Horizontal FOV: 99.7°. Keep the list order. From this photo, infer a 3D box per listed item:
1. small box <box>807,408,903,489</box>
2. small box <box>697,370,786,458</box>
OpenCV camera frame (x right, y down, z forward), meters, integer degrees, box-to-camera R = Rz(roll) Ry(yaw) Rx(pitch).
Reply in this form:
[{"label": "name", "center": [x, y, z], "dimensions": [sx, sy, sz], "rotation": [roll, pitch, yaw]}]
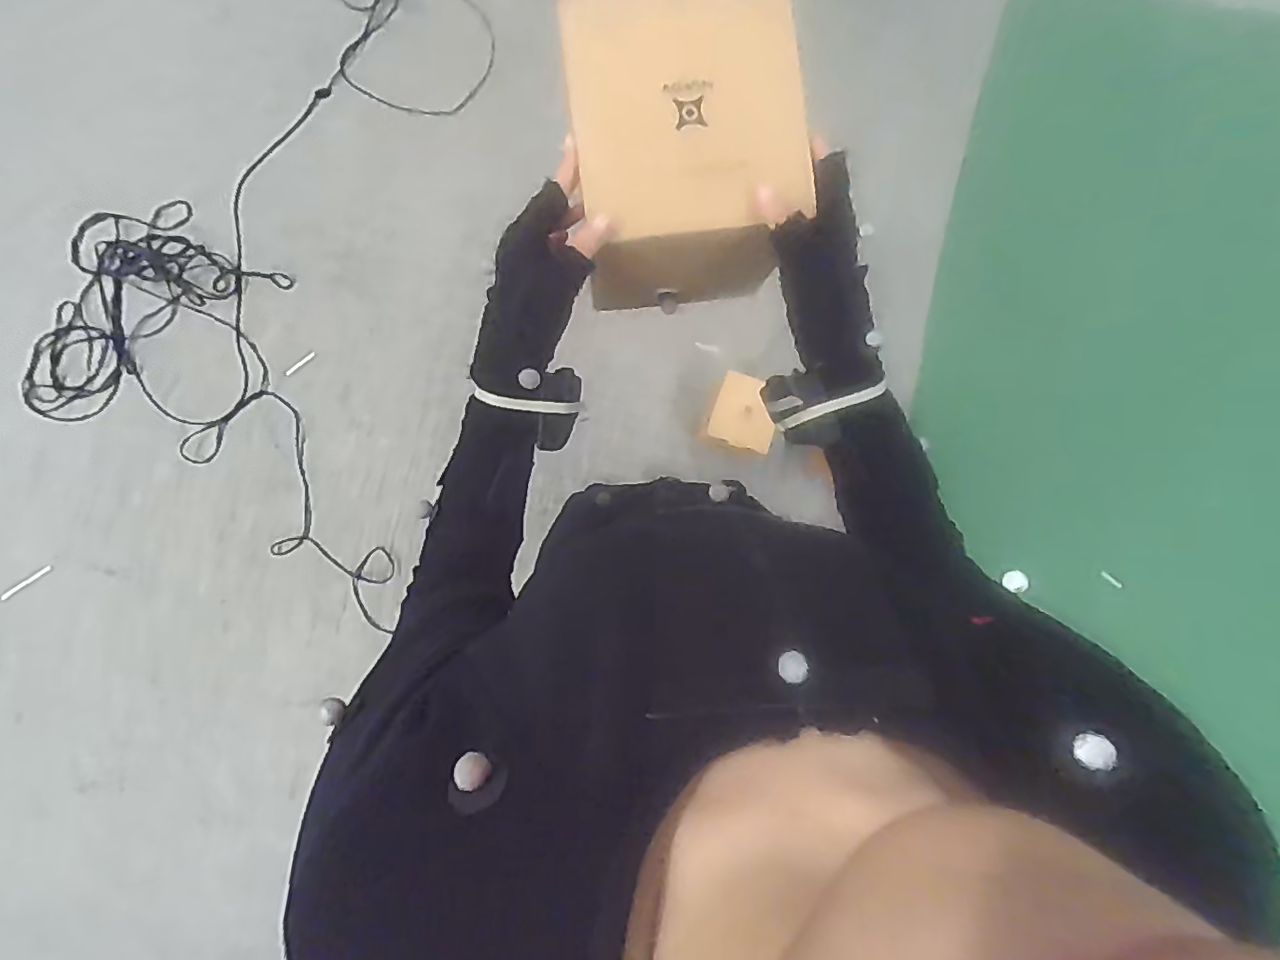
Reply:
[{"label": "small box", "center": [0.566, -0.079, 1.447], "dimensions": [0.168, 0.176, 0.179], "rotation": [14, 88, -4]}, {"label": "small box", "center": [0.259, -0.166, 1.427], "dimensions": [0.168, 0.176, 0.179], "rotation": [19, 89, -4]}]
